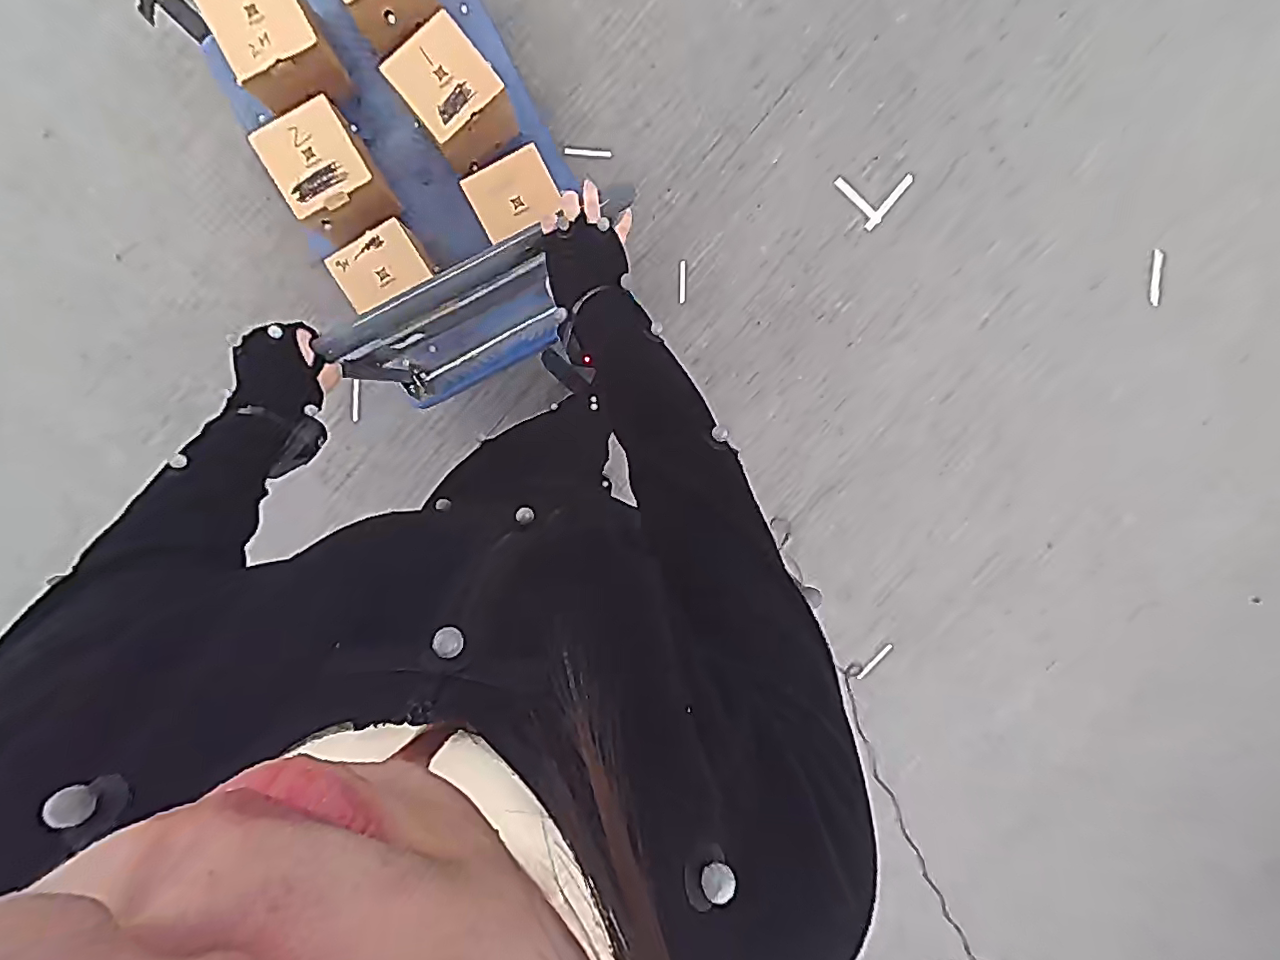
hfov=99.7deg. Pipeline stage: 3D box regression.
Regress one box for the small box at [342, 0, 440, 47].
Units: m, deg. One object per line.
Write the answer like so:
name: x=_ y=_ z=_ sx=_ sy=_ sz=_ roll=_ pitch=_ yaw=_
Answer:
small box: x=-0.521 y=-0.999 z=1.053 sx=0.168 sy=0.176 sz=0.179 roll=-32 pitch=99 yaw=1

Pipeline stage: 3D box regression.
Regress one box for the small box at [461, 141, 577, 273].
small box: x=-0.241 y=-0.556 z=1.135 sx=0.168 sy=0.176 sz=0.179 roll=-28 pitch=98 yaw=-1

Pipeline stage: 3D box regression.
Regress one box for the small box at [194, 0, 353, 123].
small box: x=-0.707 y=-0.854 z=1.057 sx=0.168 sy=0.176 sz=0.179 roll=-27 pitch=99 yaw=0

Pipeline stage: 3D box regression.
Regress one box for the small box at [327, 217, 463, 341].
small box: x=-0.500 y=-0.407 z=1.134 sx=0.168 sy=0.176 sz=0.179 roll=-32 pitch=99 yaw=0

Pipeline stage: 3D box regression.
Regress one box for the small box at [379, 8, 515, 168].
small box: x=-0.376 y=-0.772 z=1.094 sx=0.168 sy=0.176 sz=0.179 roll=-41 pitch=98 yaw=2
